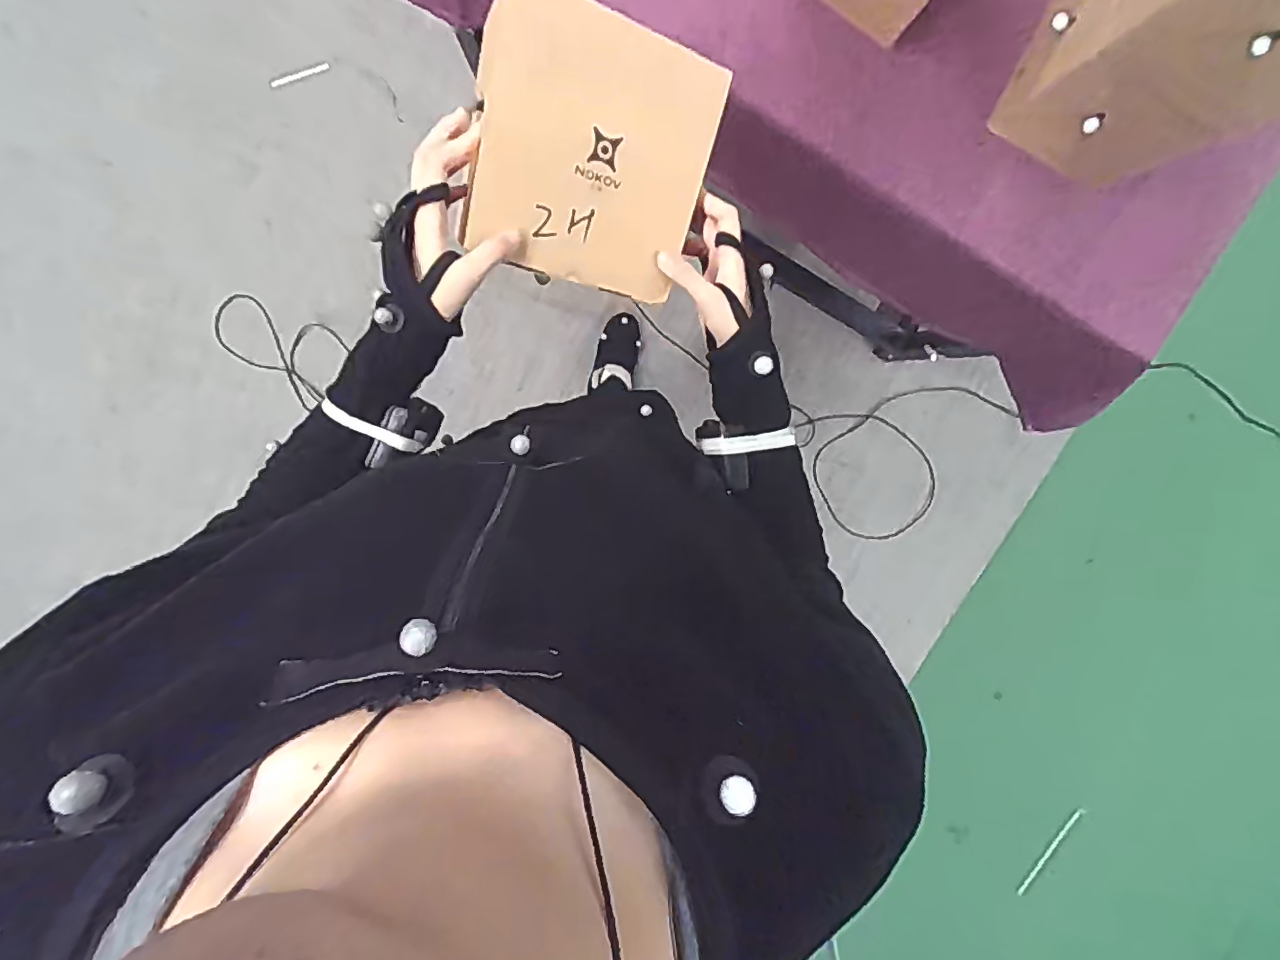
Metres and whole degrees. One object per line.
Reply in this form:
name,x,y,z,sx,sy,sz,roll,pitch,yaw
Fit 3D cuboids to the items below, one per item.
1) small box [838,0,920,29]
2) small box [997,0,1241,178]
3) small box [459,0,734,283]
small box,0.280,-0.641,0.569,0.179,0.176,0.168,29,97,-9
small box,0.562,-0.480,0.613,0.179,0.176,0.168,26,99,-7
small box,-0.054,-0.286,0.454,0.168,0.176,0.179,8,113,-24
